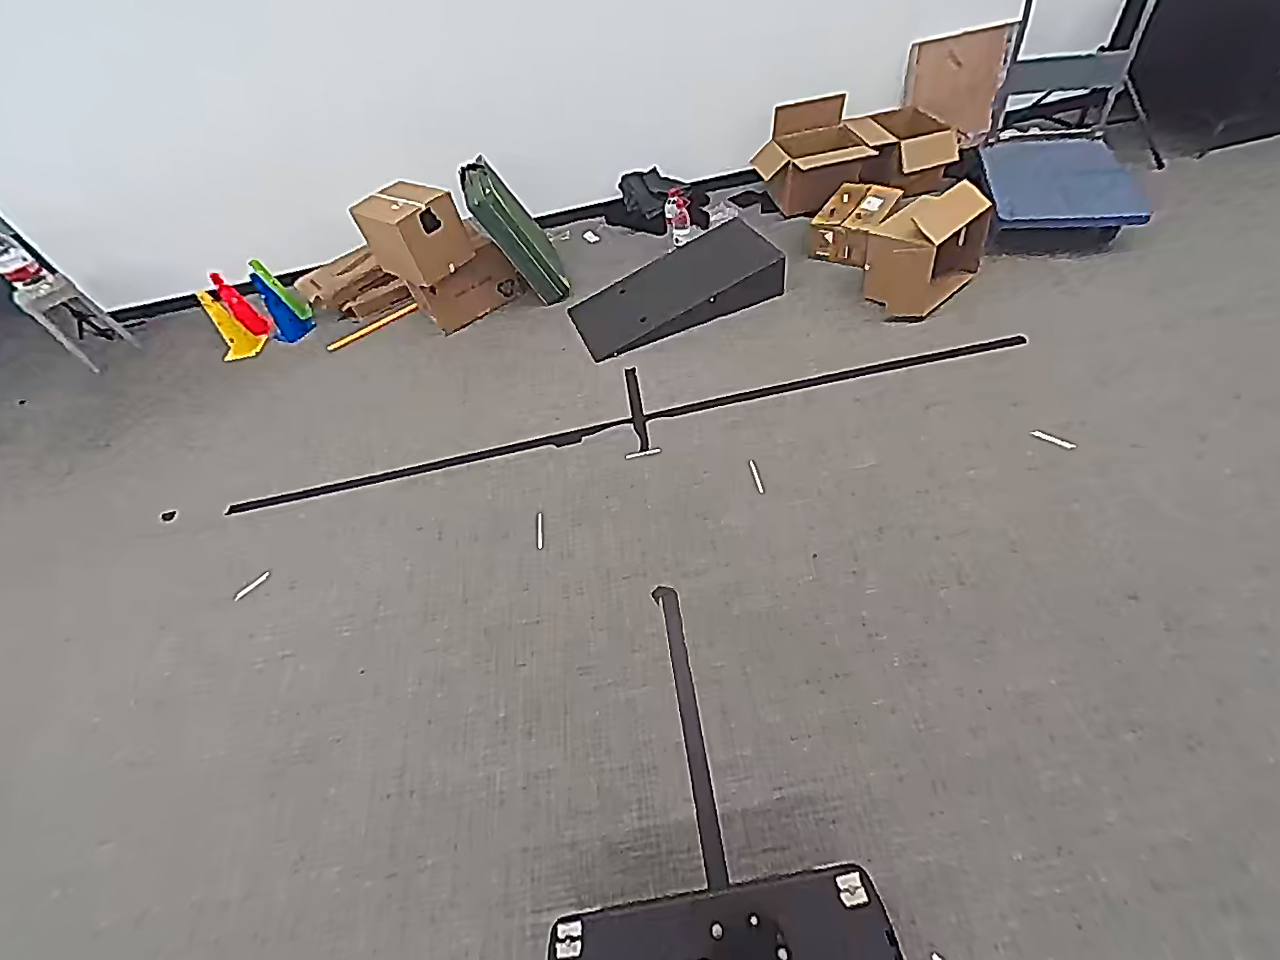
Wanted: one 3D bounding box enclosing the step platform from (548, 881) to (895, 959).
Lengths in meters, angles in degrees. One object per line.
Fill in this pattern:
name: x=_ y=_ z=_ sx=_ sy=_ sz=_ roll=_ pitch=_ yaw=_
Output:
step platform: x=0.157 y=1.009 z=1.045 sx=0.684 sy=0.204 sz=0.286 roll=-12 pitch=50 yaw=0
